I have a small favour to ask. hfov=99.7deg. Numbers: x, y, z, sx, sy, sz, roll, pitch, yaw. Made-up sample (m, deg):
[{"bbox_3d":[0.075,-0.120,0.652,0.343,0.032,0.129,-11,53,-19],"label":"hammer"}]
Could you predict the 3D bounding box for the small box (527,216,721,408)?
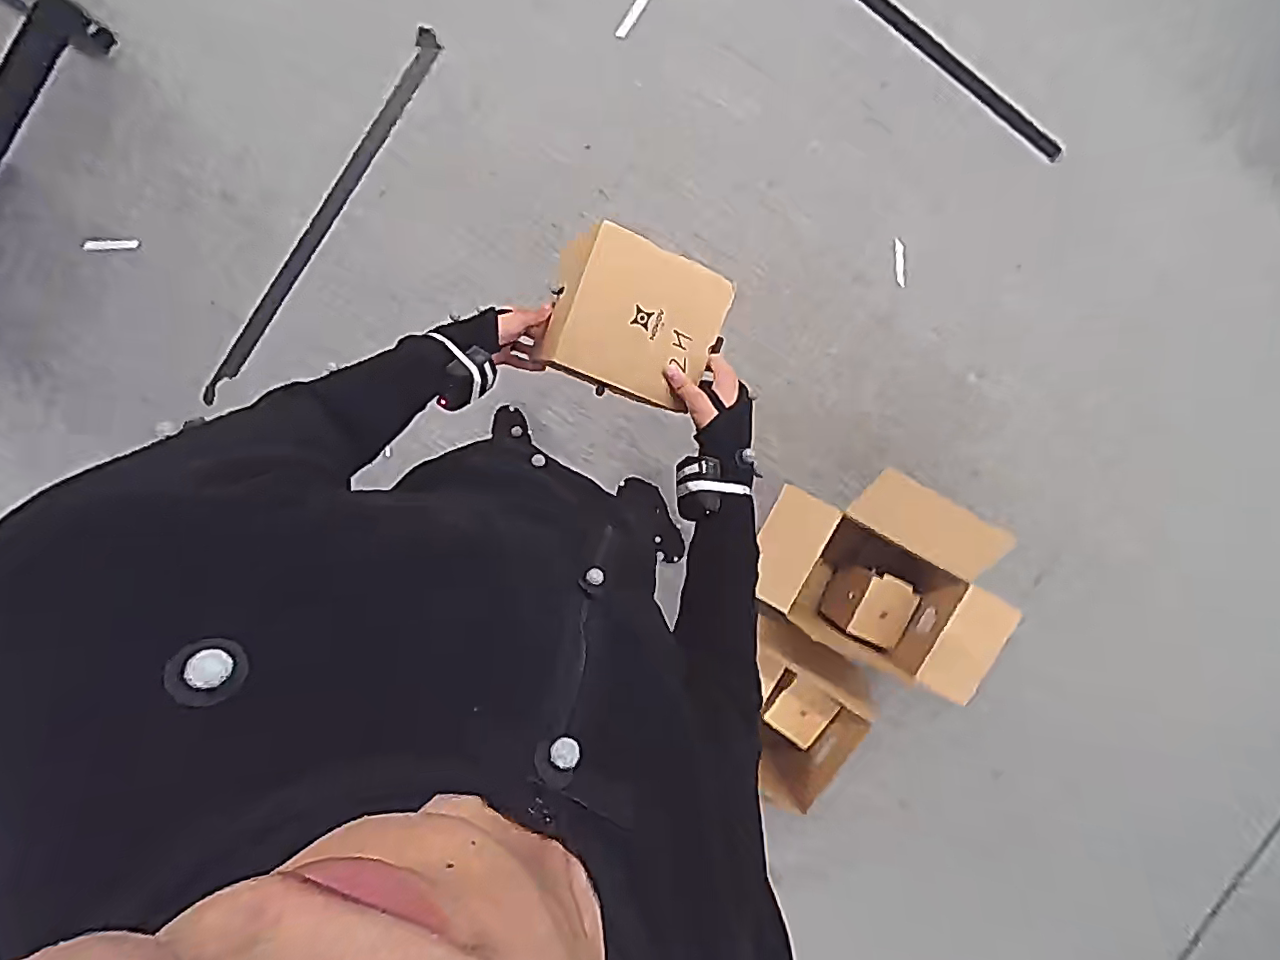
[{"bbox_3d":[-0.032,-0.204,0.696,0.179,0.176,0.168,19,96,-24],"label":"small box"}]
